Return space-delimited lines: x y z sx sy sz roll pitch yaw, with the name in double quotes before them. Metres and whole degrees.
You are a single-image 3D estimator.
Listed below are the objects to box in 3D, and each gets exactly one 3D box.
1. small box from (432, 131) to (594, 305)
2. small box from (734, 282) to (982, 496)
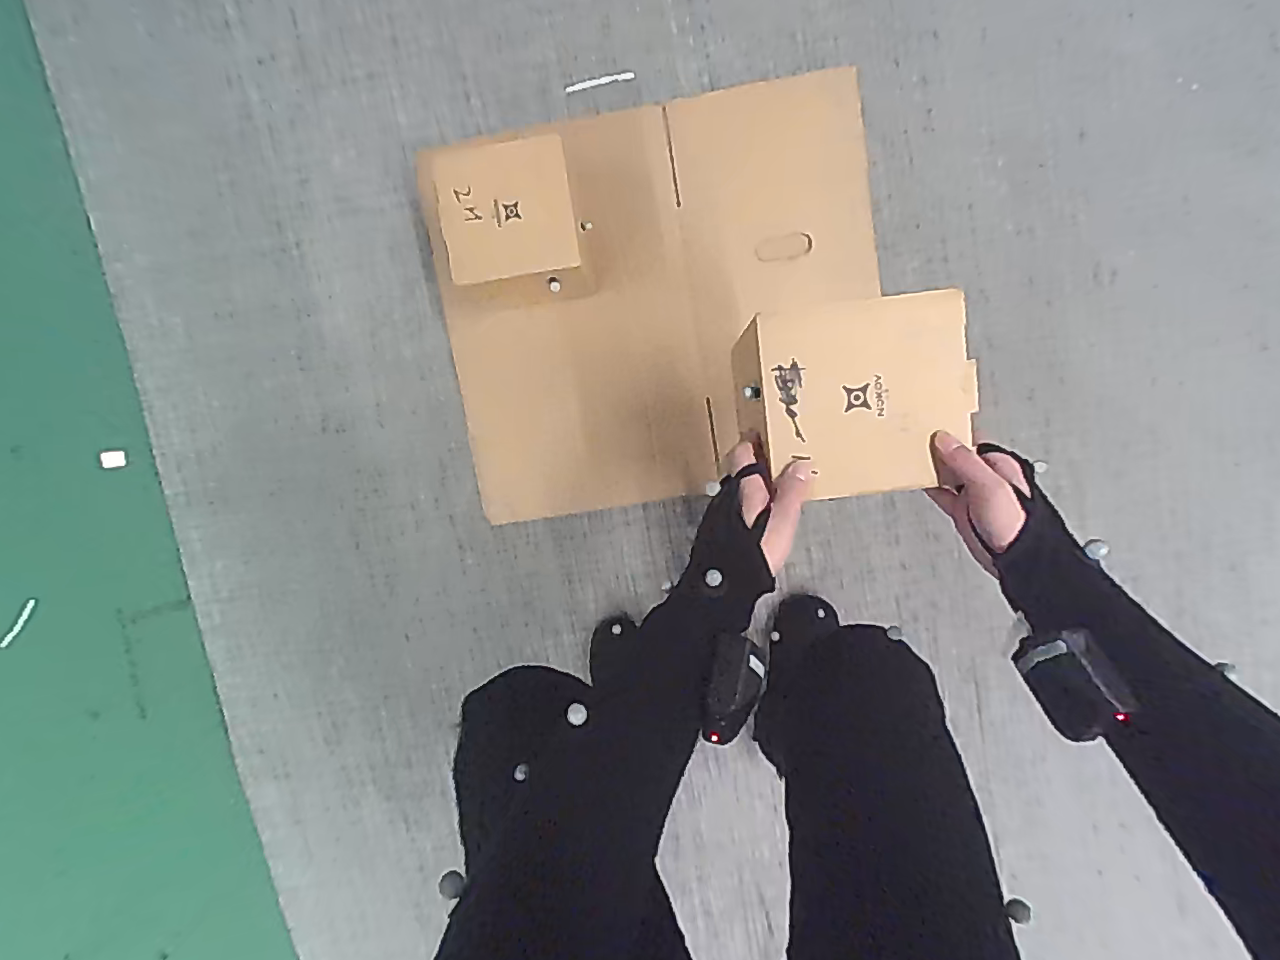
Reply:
"small box" -0.165 -0.358 0.769 0.179 0.176 0.168 -8 97 4
"small box" 0.200 -0.081 0.540 0.179 0.176 0.168 -7 92 3
